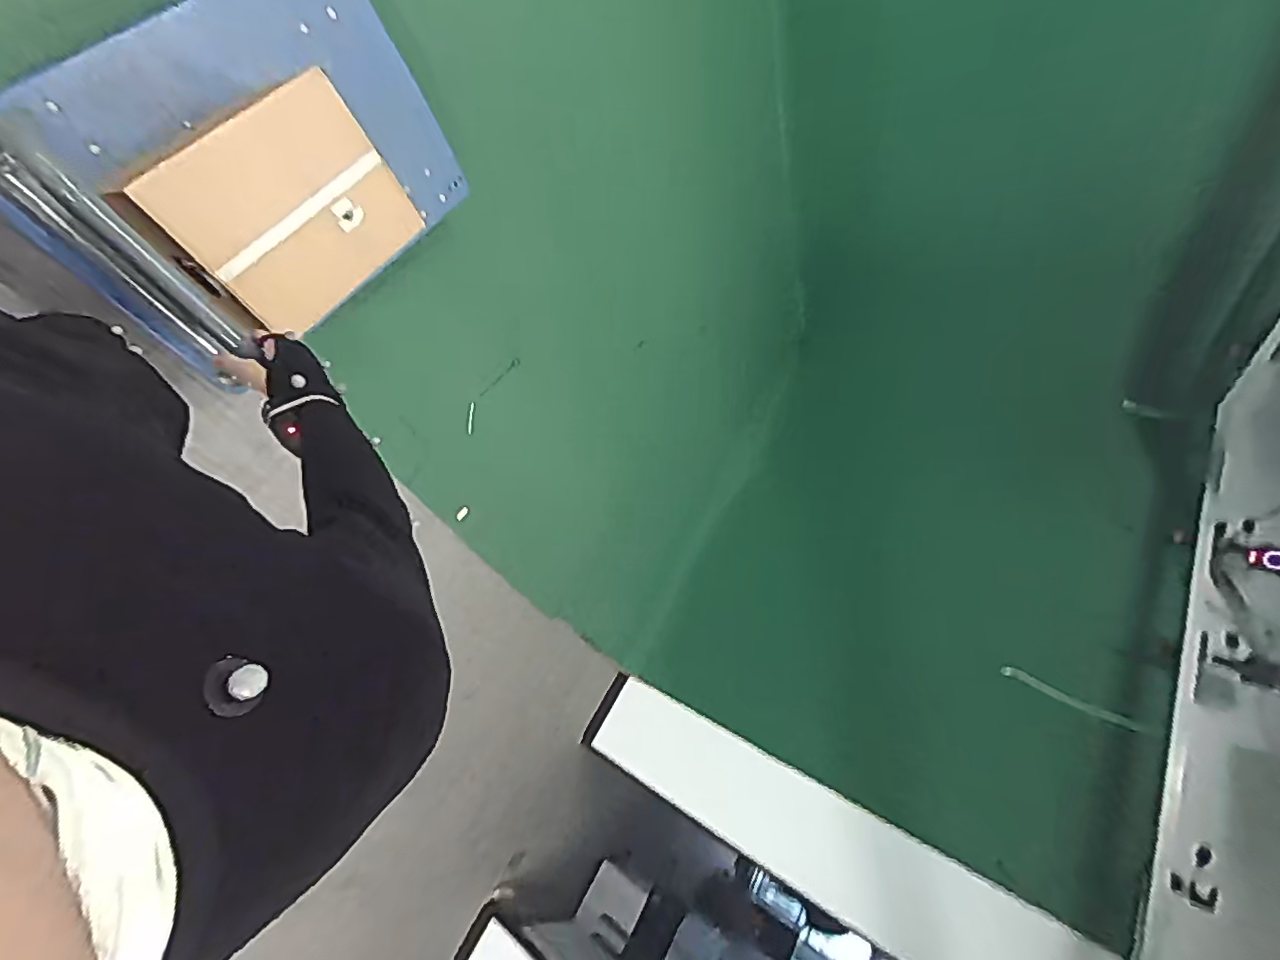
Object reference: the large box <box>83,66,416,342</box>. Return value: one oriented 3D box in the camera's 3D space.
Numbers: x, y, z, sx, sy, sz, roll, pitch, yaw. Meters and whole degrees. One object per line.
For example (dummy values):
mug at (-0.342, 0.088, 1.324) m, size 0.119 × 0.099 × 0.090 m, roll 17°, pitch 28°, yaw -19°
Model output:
large box at (-0.760, -0.538, 1.089) m, size 0.408 × 0.320 × 0.320 m, roll -57°, pitch 144°, yaw -23°
